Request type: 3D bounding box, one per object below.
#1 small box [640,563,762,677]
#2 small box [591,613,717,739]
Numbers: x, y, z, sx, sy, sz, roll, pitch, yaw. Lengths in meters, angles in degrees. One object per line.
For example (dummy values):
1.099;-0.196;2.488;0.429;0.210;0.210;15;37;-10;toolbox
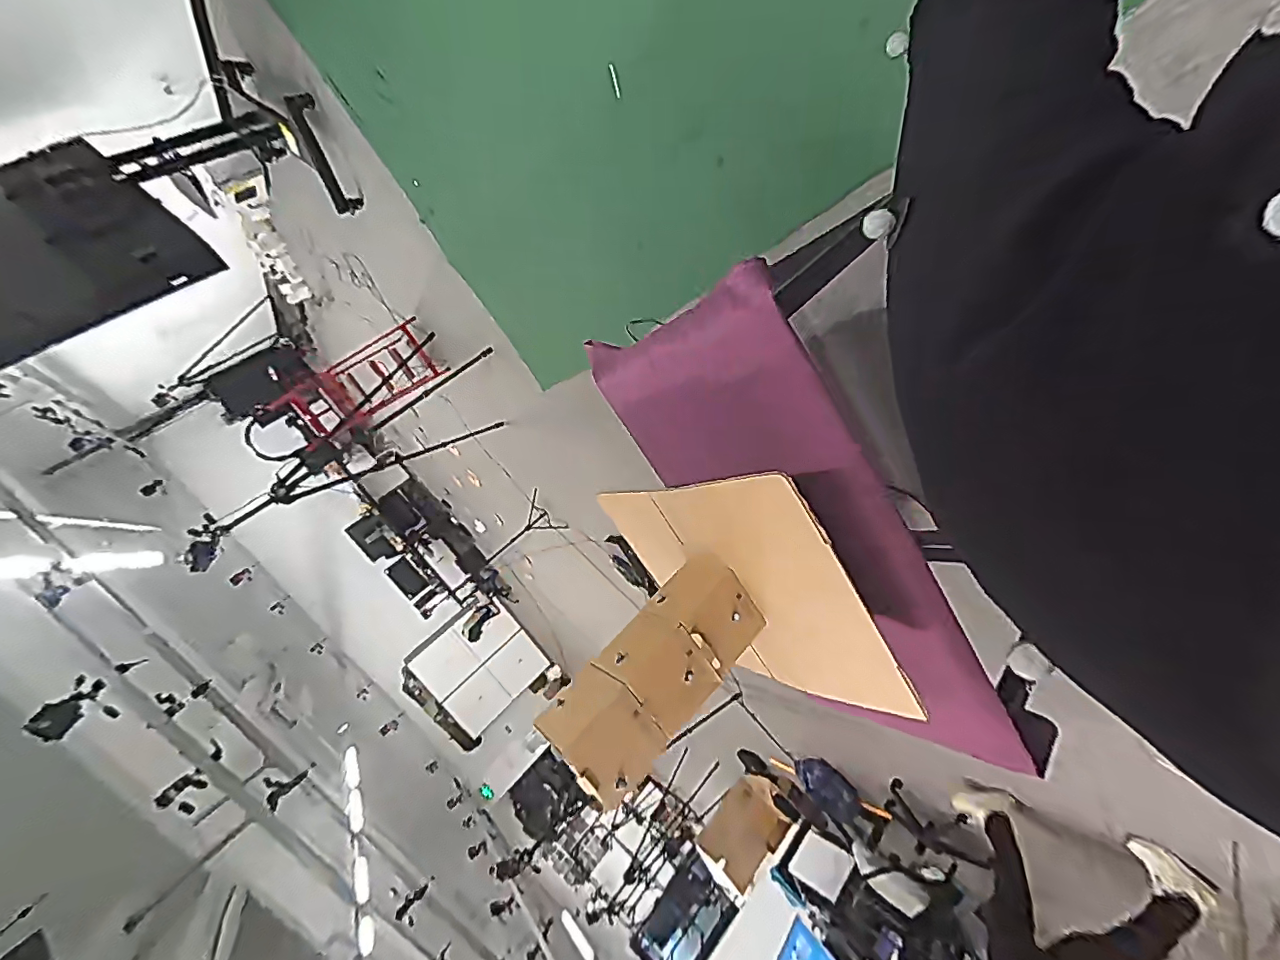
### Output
0.140;0.307;1.226;0.168;0.176;0.179;55;153;-17;small box
0.031;0.406;1.157;0.168;0.176;0.179;55;154;-15;small box
